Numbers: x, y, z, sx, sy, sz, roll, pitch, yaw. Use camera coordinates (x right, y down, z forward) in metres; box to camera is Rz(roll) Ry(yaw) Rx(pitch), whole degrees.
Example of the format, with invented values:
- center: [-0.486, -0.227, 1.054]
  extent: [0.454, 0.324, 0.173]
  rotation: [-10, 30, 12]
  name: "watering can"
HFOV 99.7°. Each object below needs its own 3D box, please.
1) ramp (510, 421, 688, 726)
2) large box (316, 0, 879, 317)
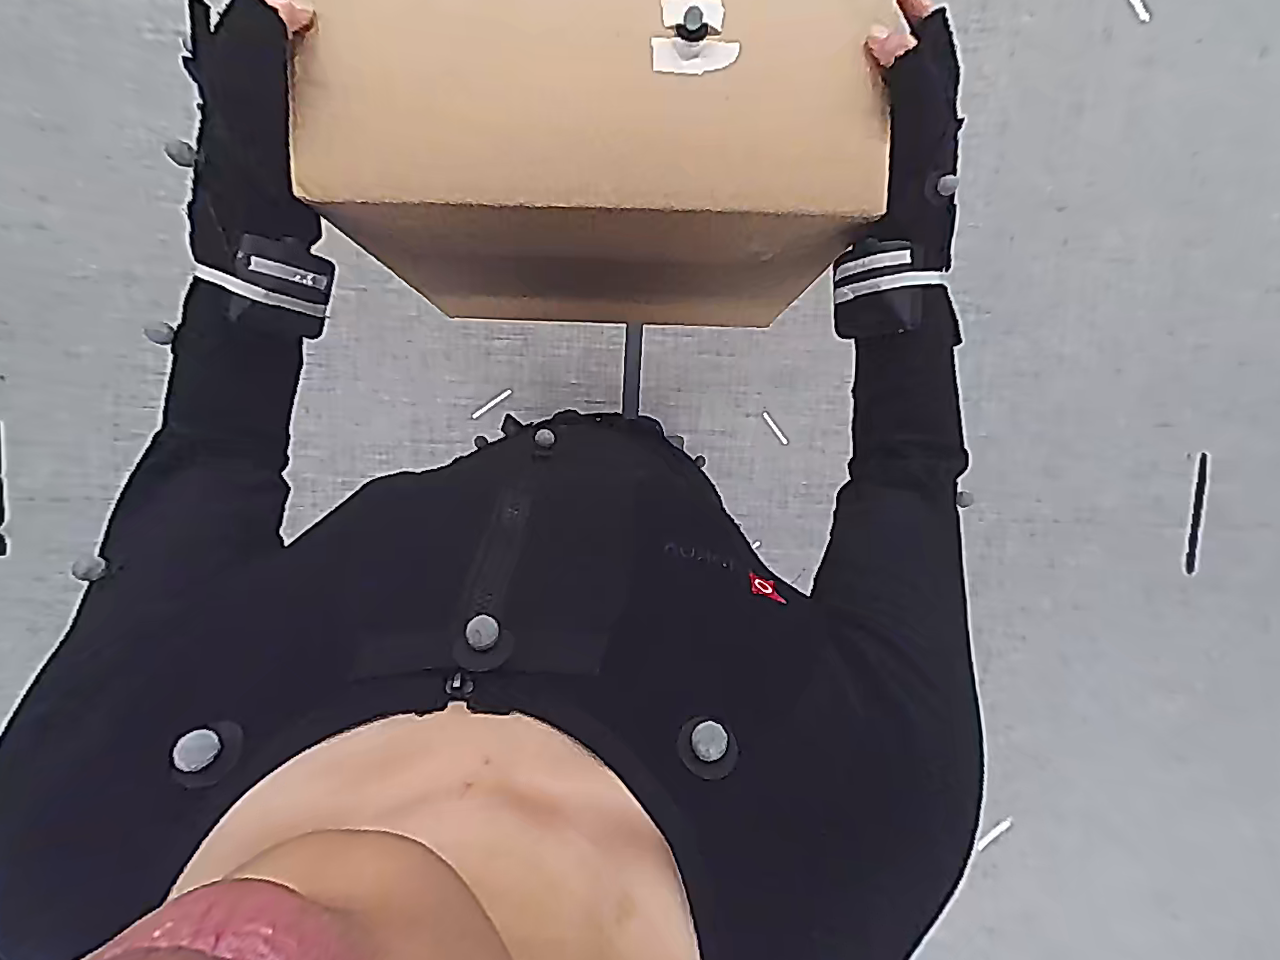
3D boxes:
- center: [-0.124, 0.322, 1.613]
  extent: [0.509, 0.206, 0.991]
  rotation: [0, 97, -3]
  name: "ramp"
- center: [-0.031, -0.354, 0.529]
  extent: [0.408, 0.320, 0.320]
  rotation: [1, 92, -1]
  name: "large box"
